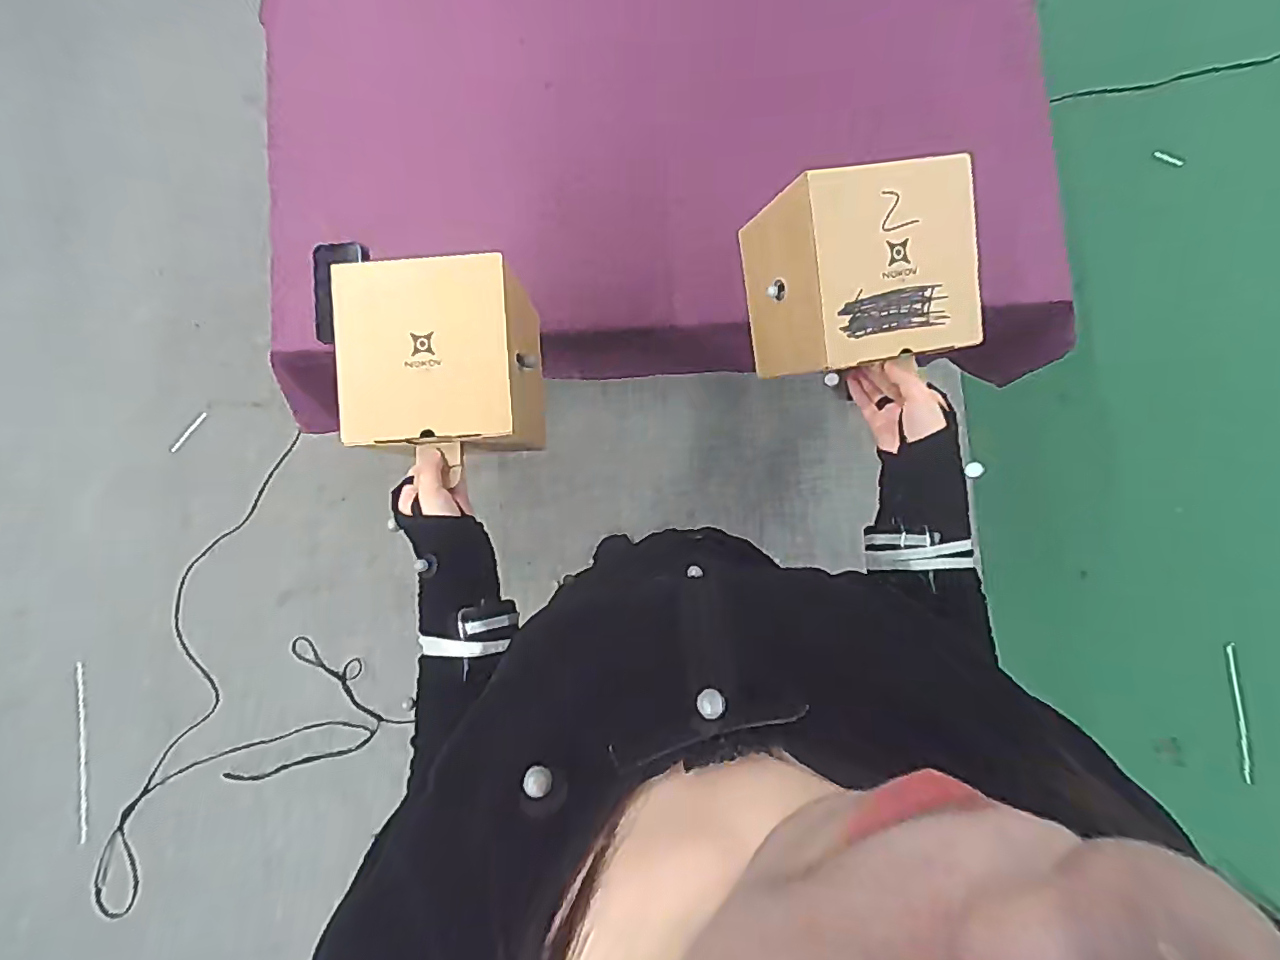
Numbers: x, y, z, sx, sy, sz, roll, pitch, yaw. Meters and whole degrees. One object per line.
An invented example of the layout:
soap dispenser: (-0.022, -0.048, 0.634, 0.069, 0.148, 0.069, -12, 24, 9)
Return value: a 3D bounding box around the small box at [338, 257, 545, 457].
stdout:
small box: (-0.201, -0.120, 0.589, 0.168, 0.176, 0.179, -3, 90, 0)
